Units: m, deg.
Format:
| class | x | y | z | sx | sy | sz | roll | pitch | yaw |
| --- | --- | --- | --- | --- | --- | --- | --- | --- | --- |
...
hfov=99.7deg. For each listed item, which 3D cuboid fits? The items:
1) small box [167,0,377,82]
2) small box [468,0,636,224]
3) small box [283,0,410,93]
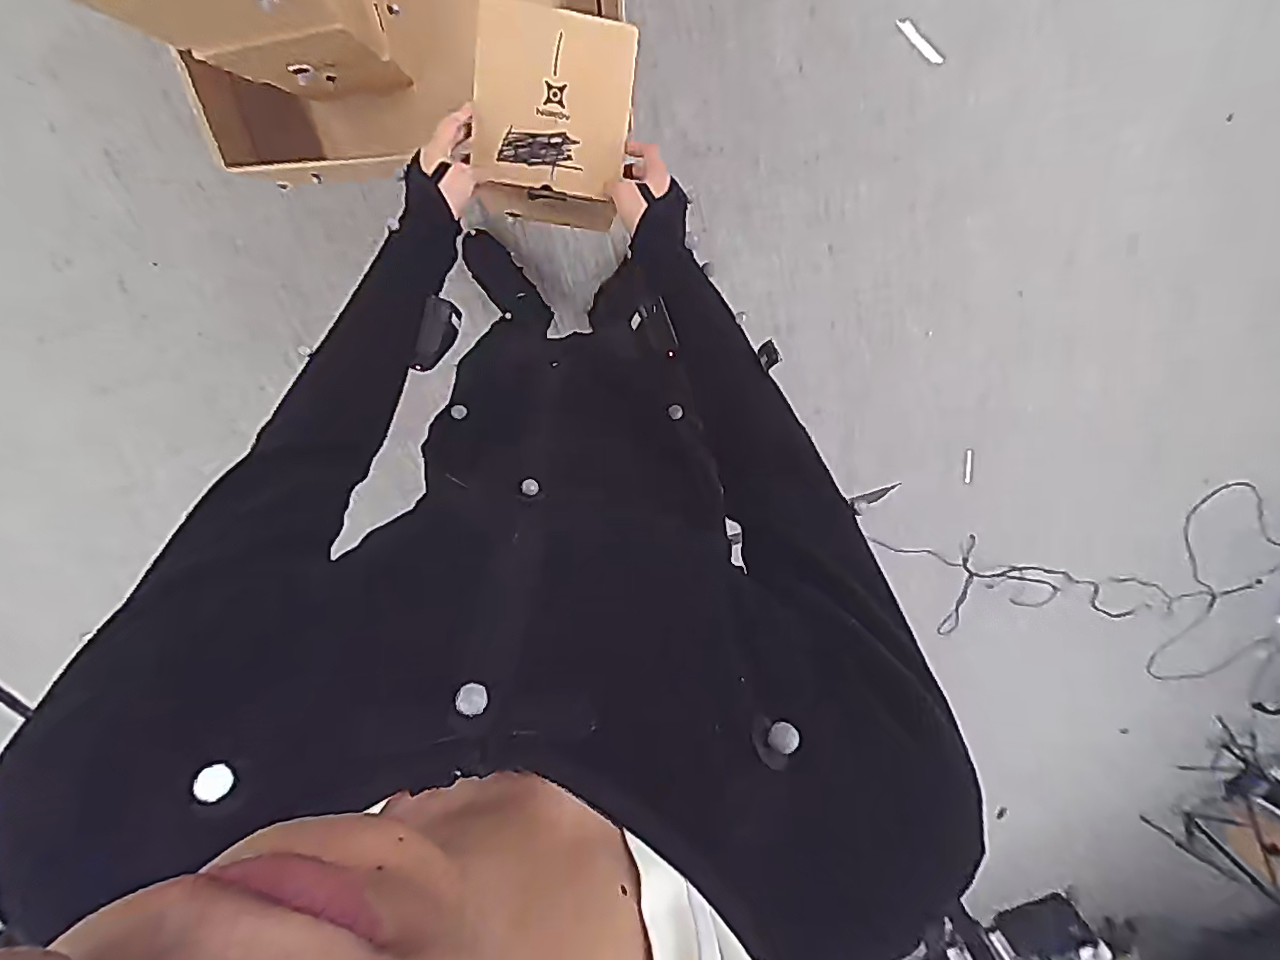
| class | x | y | z | sx | sy | sz | roll | pitch | yaw |
| --- | --- | --- | --- | --- | --- | --- | --- | --- | --- |
| small box | -0.430 | -0.587 | 0.613 | 0.168 | 0.176 | 0.179 | -14 | 119 | -3 |
| small box | -0.103 | -0.422 | 0.647 | 0.168 | 0.176 | 0.179 | 5 | 103 | -9 |
| small box | -0.449 | -0.663 | 0.757 | 0.179 | 0.176 | 0.168 | -13 | 119 | -6 |
